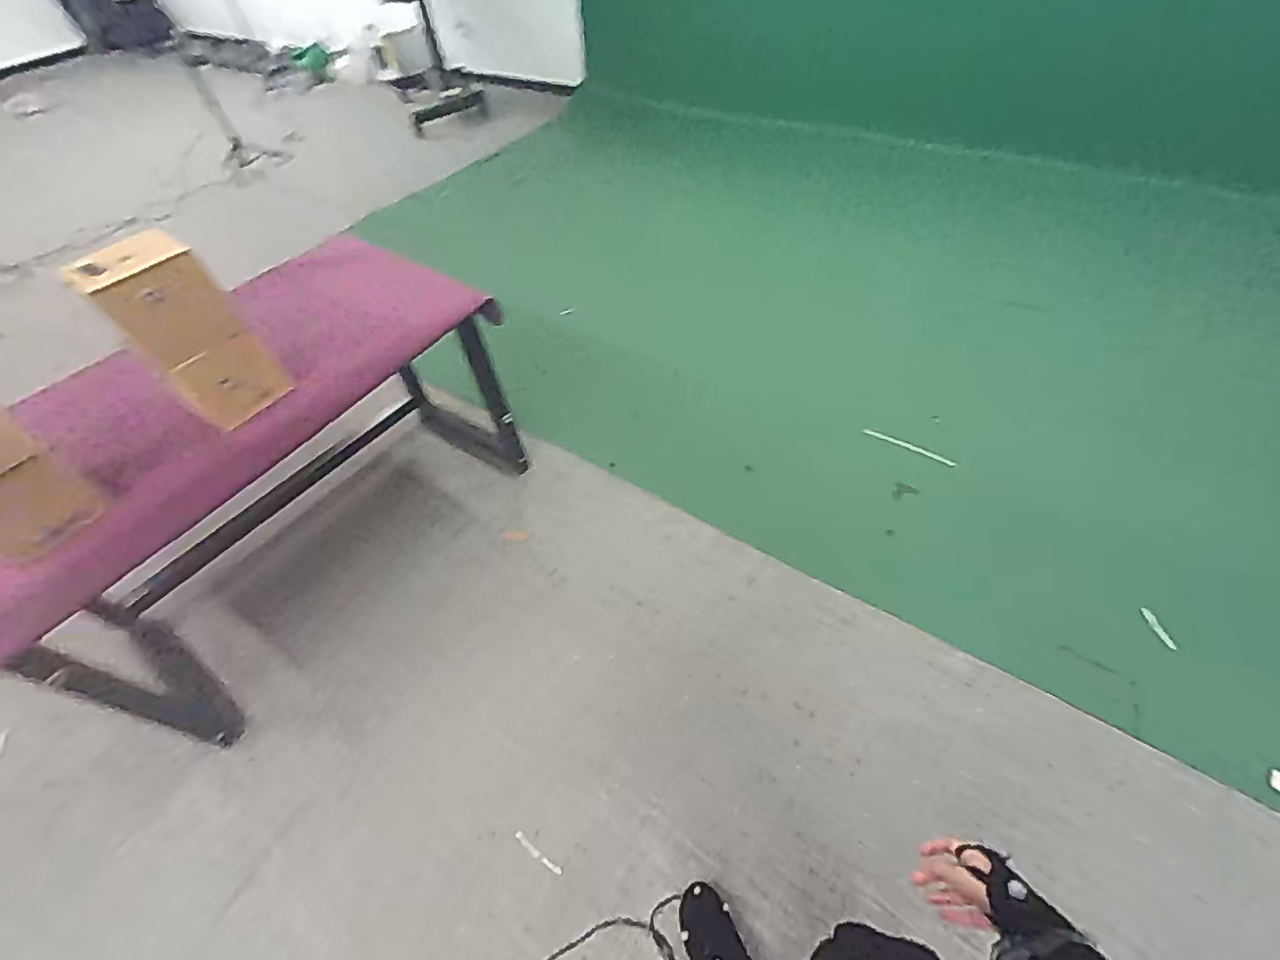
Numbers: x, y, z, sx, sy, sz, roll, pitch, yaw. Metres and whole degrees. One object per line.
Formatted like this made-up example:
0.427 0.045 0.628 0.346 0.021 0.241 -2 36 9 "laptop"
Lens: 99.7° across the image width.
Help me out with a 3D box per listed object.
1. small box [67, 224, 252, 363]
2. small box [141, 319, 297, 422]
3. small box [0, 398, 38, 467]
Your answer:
-0.899 -0.351 1.025 0.168 0.176 0.179 29 59 26 "small box"
-0.885 -0.249 1.154 0.179 0.176 0.168 25 58 25 "small box"
-1.119 -0.093 0.840 0.179 0.176 0.168 28 60 24 "small box"
